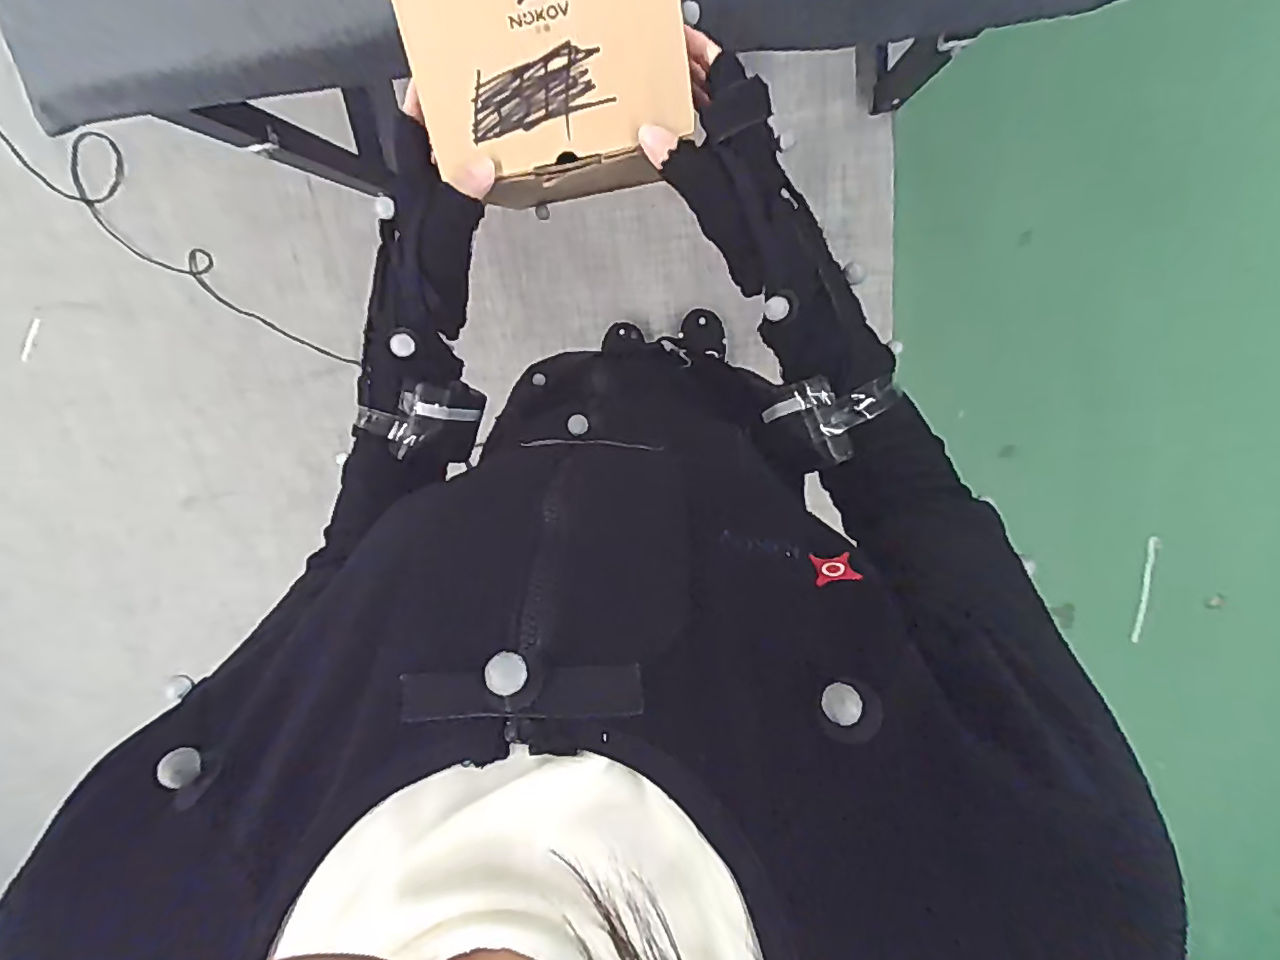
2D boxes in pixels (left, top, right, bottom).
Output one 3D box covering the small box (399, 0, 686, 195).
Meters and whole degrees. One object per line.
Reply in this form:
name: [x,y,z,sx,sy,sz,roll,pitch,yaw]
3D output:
small box: [-0.055,-0.314,0.387,0.168,0.176,0.179,-7,111,6]
